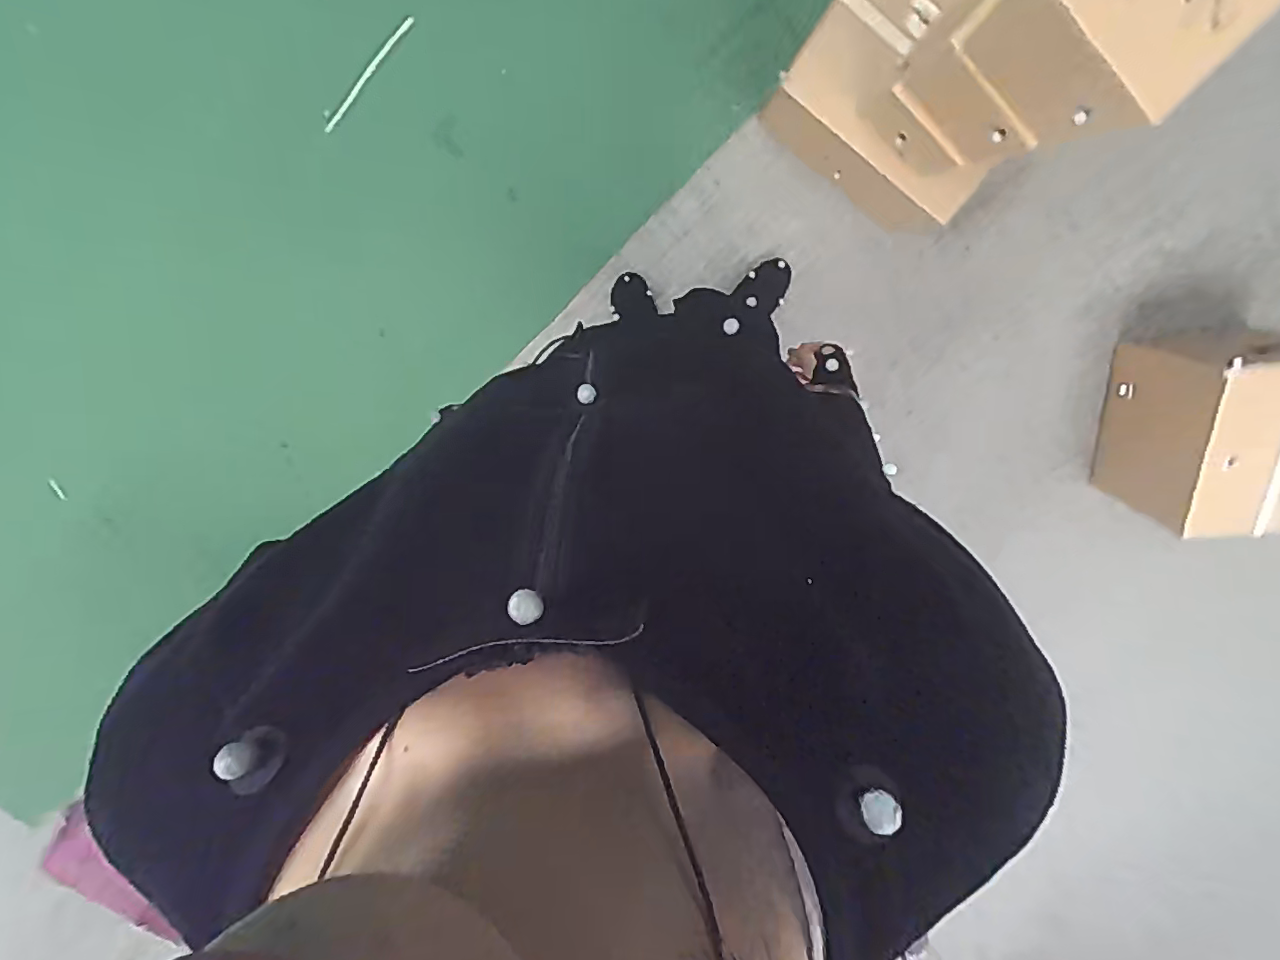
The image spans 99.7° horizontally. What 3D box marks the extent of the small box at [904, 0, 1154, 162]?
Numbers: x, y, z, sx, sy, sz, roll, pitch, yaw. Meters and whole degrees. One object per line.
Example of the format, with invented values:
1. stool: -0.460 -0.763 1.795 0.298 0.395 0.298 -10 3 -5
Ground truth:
1. small box: 0.491 -0.554 0.713 0.179 0.176 0.168 39 110 -14

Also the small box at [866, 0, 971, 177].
1. small box: 0.490 -0.616 0.862 0.168 0.176 0.179 38 110 -14

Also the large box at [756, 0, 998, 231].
1. large box: 0.497 -0.750 1.072 0.408 0.320 0.320 33 110 -10
